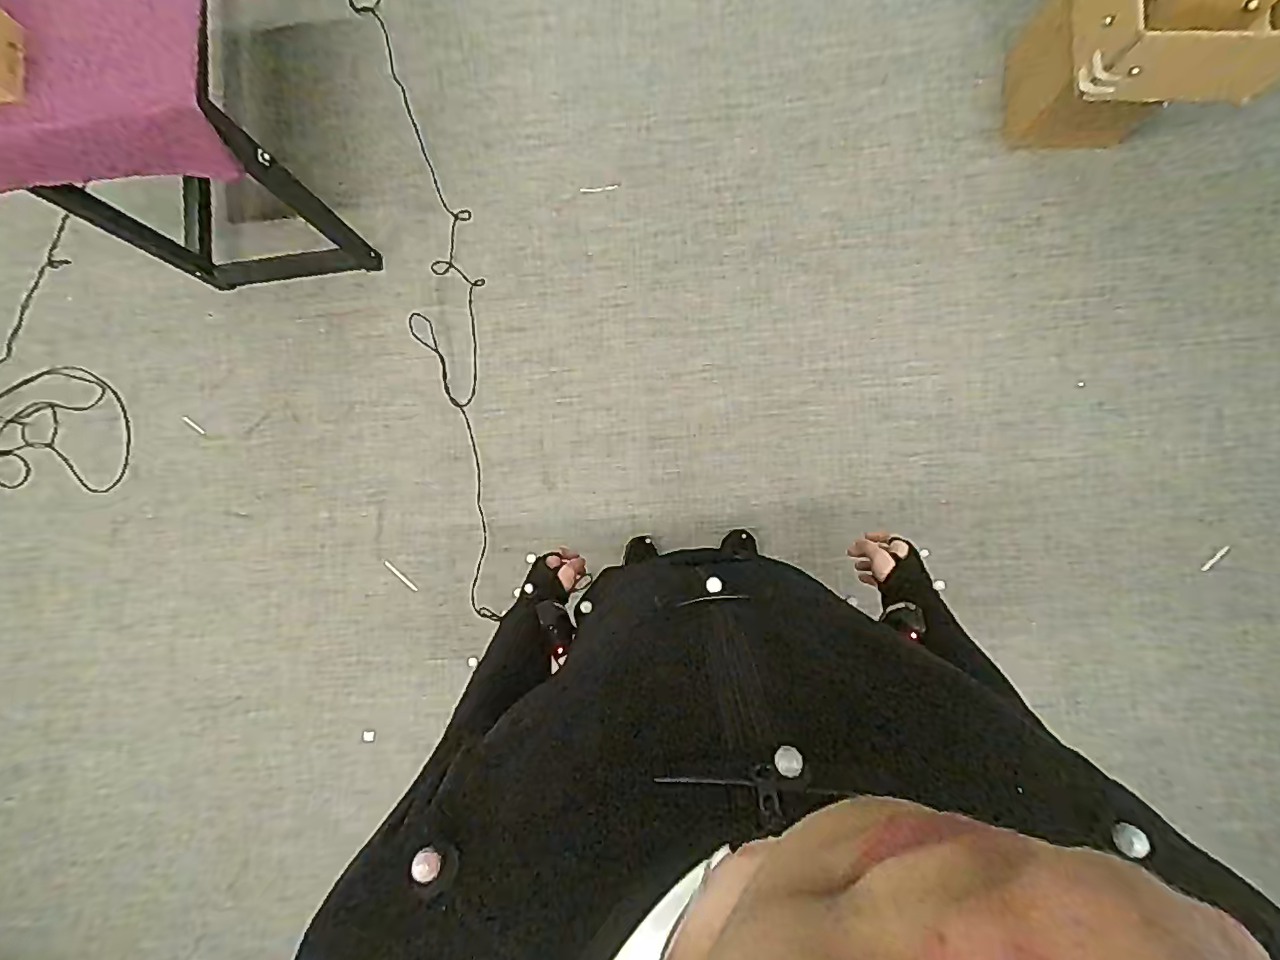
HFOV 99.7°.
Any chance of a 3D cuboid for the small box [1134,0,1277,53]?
[{"bbox_3d":[1.230,-1.067,1.164,0.179,0.176,0.168,8,86,4],"label":"small box"}]
